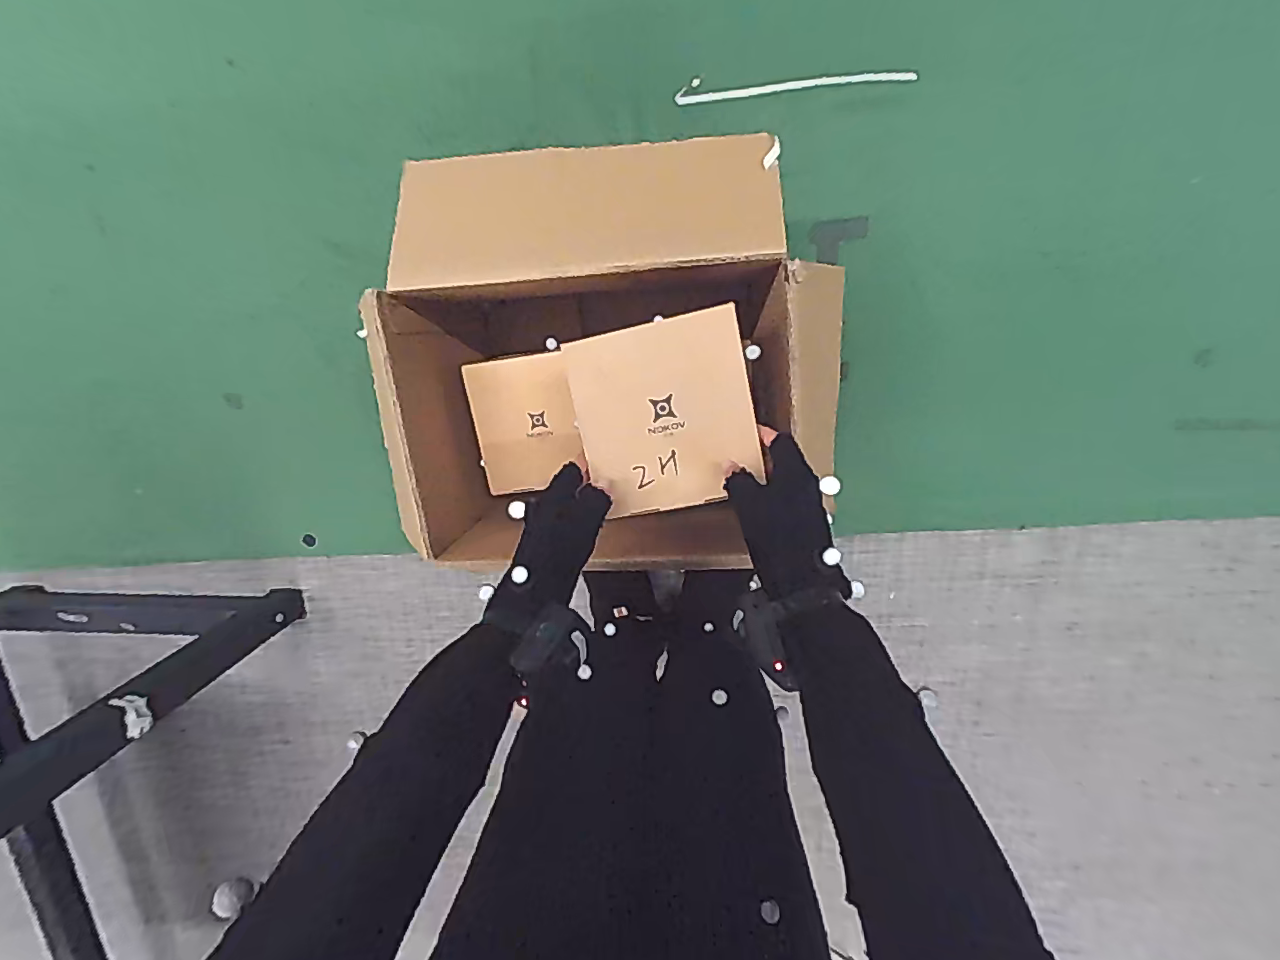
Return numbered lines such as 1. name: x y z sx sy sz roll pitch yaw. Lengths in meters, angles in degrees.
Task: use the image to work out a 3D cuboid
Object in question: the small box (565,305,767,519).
1. small box: 0.035 -0.070 0.580 0.168 0.176 0.179 -11 97 11
